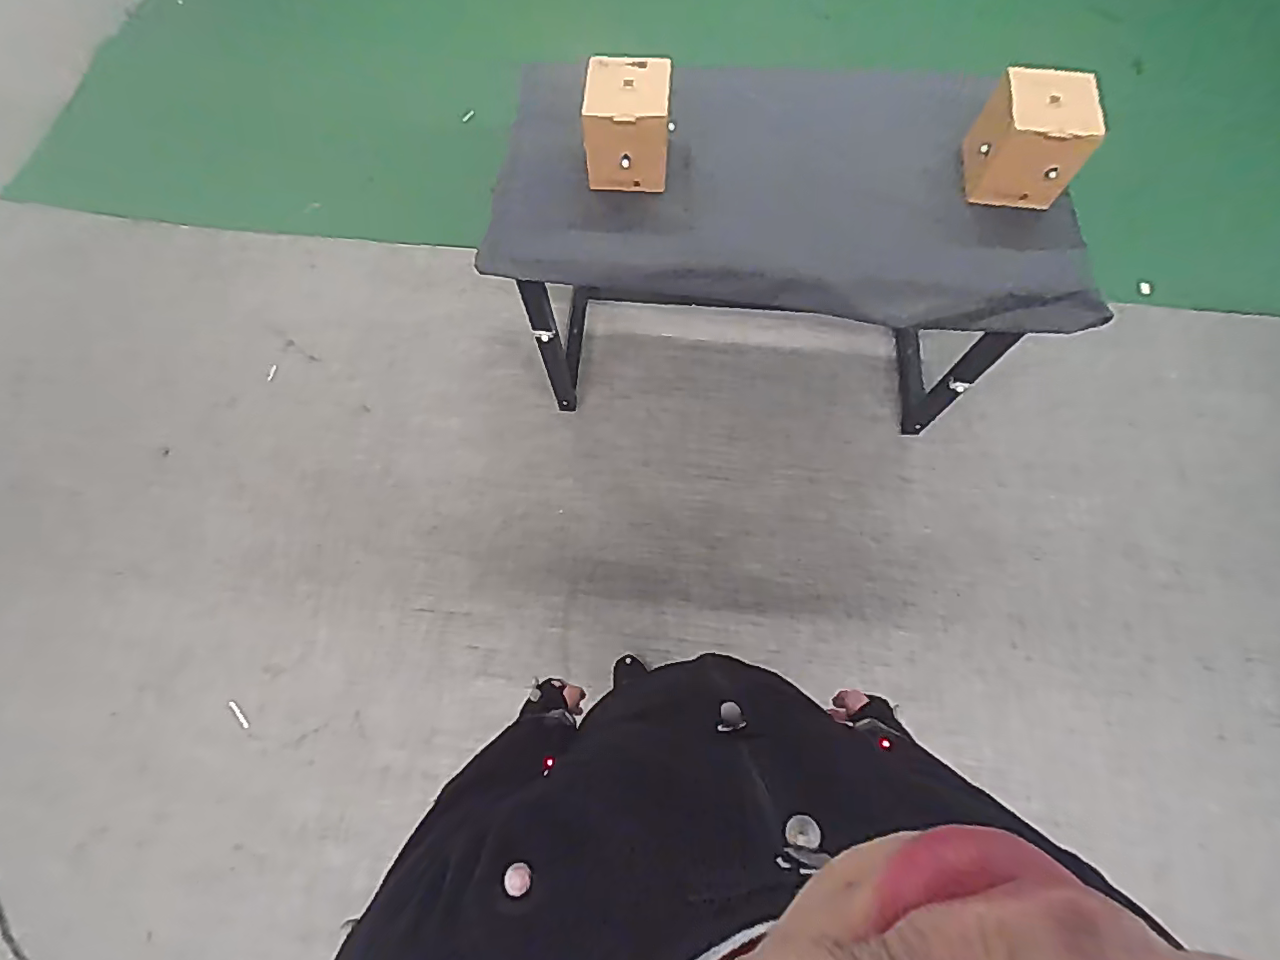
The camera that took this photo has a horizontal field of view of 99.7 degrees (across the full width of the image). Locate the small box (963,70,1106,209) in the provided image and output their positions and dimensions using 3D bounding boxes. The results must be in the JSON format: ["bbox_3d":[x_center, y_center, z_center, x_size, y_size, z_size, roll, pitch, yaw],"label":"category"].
[{"bbox_3d":[0.787,-0.683,1.098,0.168,0.176,0.179,8,69,3],"label":"small box"}]

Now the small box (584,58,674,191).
[{"bbox_3d":[-0.018,-0.738,1.134,0.168,0.176,0.179,4,70,2],"label":"small box"}]
